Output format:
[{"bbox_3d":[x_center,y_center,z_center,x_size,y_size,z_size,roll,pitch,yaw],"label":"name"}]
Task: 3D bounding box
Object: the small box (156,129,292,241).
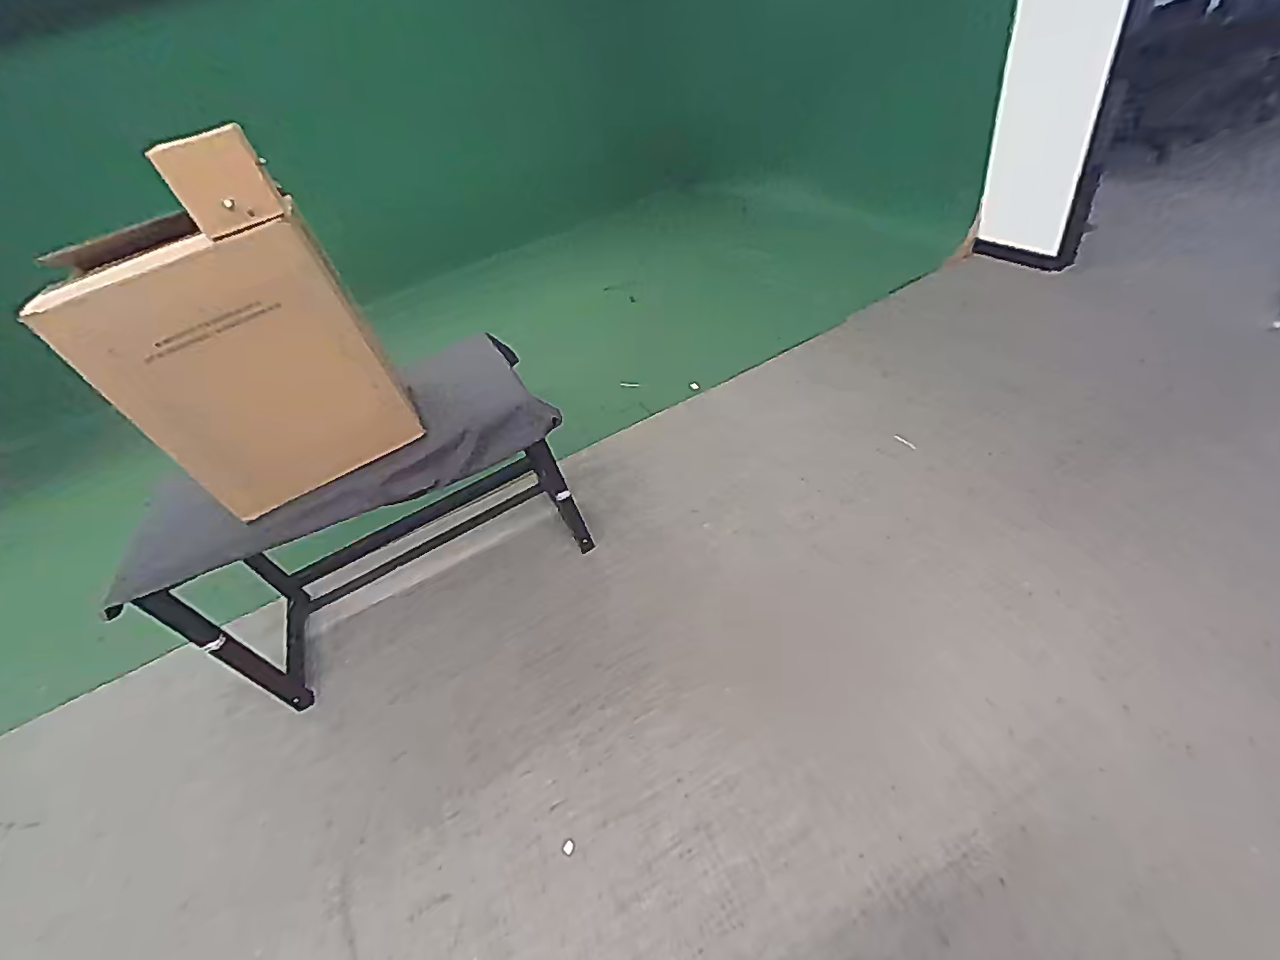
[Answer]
[{"bbox_3d":[-0.891,-0.643,1.179,0.168,0.176,0.179,-28,44,-13],"label":"small box"}]
